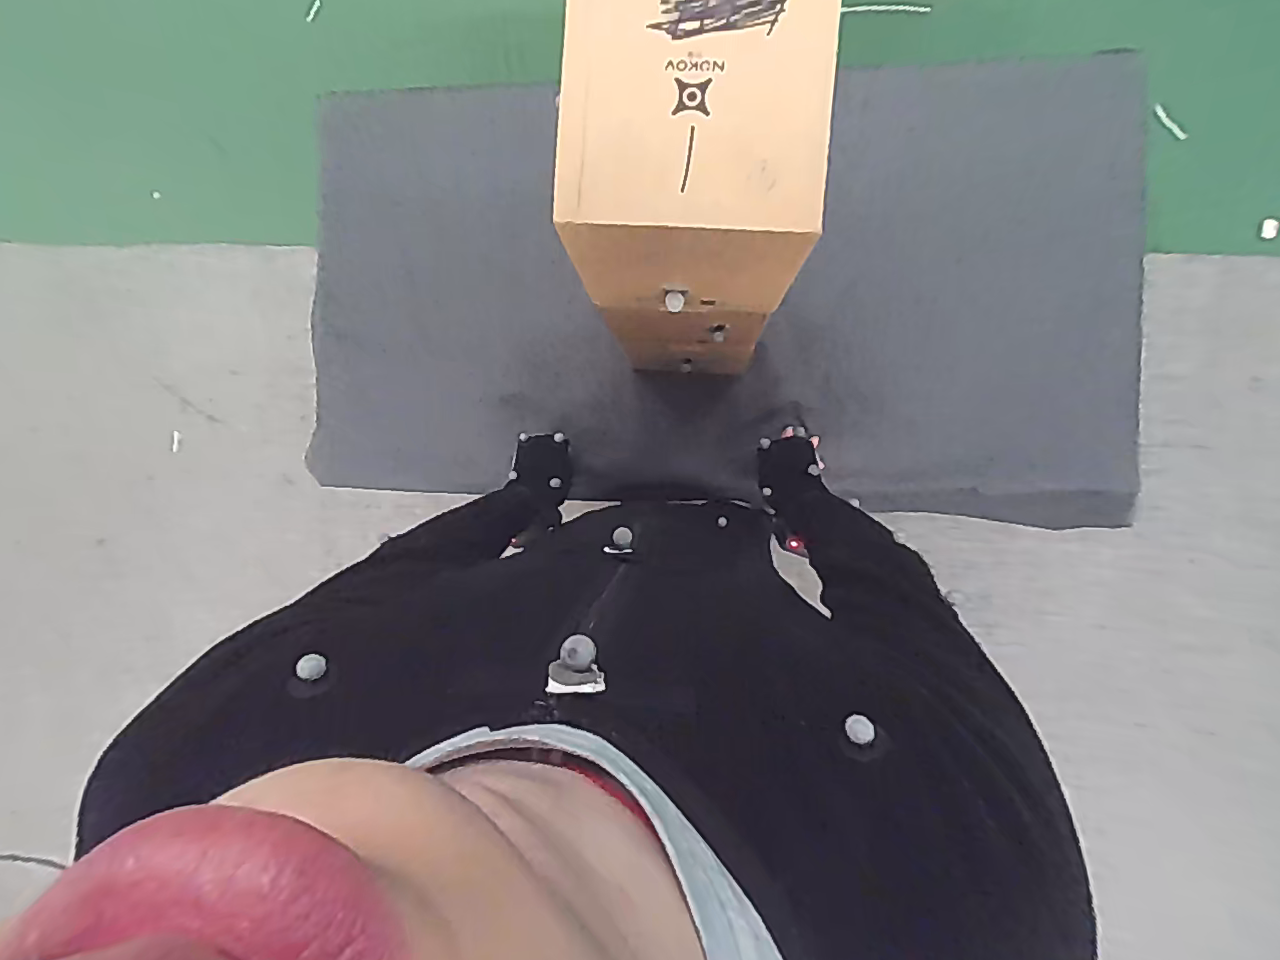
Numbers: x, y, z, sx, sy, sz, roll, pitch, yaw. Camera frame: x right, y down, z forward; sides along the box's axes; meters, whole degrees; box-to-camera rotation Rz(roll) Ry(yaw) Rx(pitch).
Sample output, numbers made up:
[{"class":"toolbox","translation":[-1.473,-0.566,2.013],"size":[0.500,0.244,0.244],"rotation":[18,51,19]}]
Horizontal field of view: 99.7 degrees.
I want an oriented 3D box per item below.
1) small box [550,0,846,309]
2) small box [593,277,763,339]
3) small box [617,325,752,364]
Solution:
[{"class":"small box","translation":[0.039,-0.241,0.399],"size":[0.168,0.176,0.179],"rotation":[5,93,4]},{"class":"small box","translation":[0.050,-0.251,0.563],"size":[0.168,0.176,0.179],"rotation":[3,91,4]},{"class":"small box","translation":[0.068,-0.257,0.724],"size":[0.168,0.176,0.179],"rotation":[4,93,5]}]
